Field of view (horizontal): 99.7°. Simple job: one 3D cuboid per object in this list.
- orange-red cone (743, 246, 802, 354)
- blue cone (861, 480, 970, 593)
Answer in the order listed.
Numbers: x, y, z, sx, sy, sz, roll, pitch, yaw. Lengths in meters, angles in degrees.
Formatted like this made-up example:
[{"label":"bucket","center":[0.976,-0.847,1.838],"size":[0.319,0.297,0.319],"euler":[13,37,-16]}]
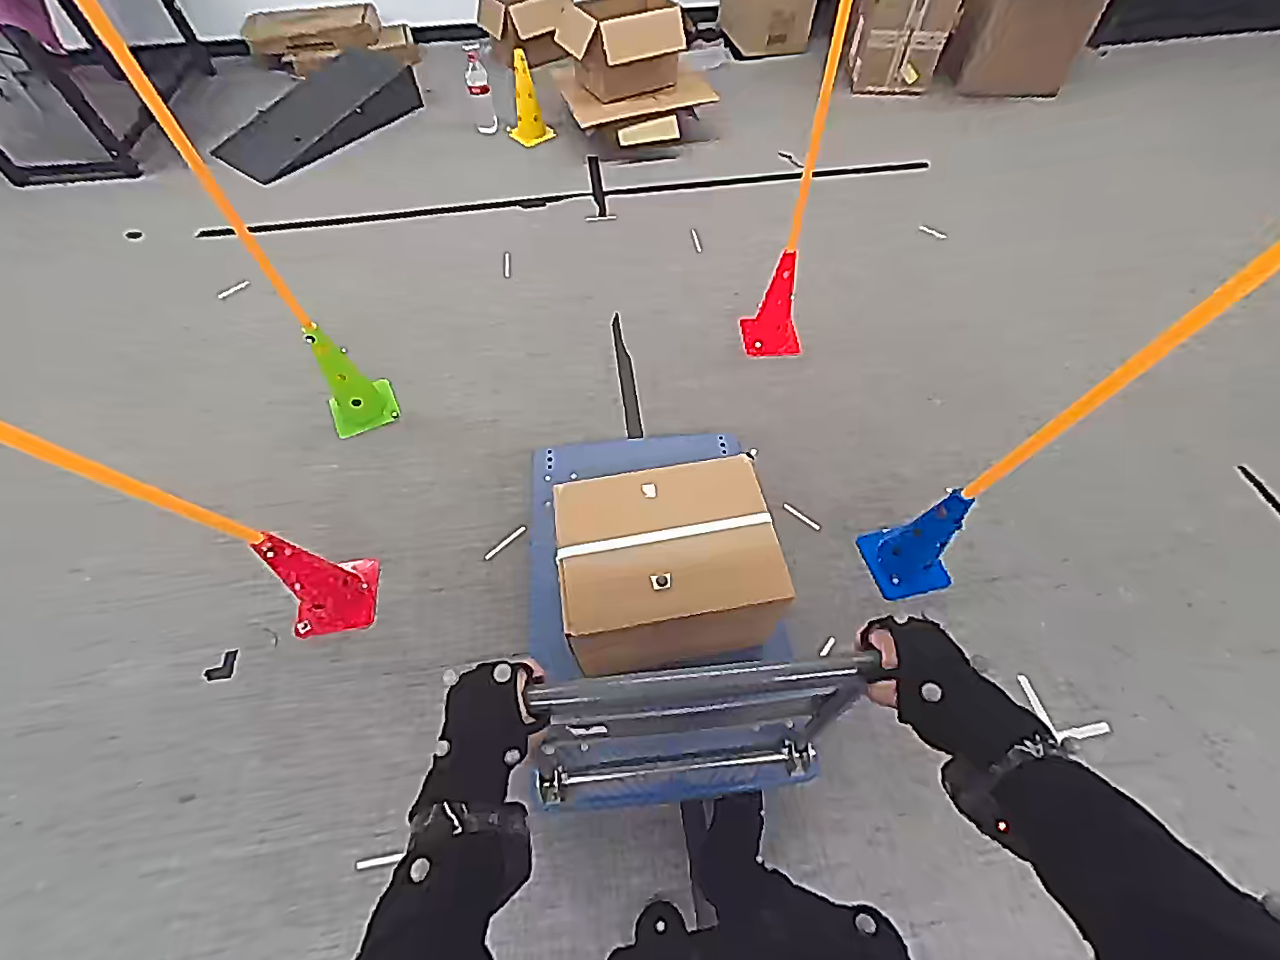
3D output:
[{"label":"orange-red cone","center":[0.479,-0.621,1.820],"size":[0.199,0.360,0.198],"euler":[-1,58,-1]},{"label":"blue cone","center":[0.728,0.124,1.360],"size":[0.193,0.380,0.192],"euler":[-10,57,-6]}]
